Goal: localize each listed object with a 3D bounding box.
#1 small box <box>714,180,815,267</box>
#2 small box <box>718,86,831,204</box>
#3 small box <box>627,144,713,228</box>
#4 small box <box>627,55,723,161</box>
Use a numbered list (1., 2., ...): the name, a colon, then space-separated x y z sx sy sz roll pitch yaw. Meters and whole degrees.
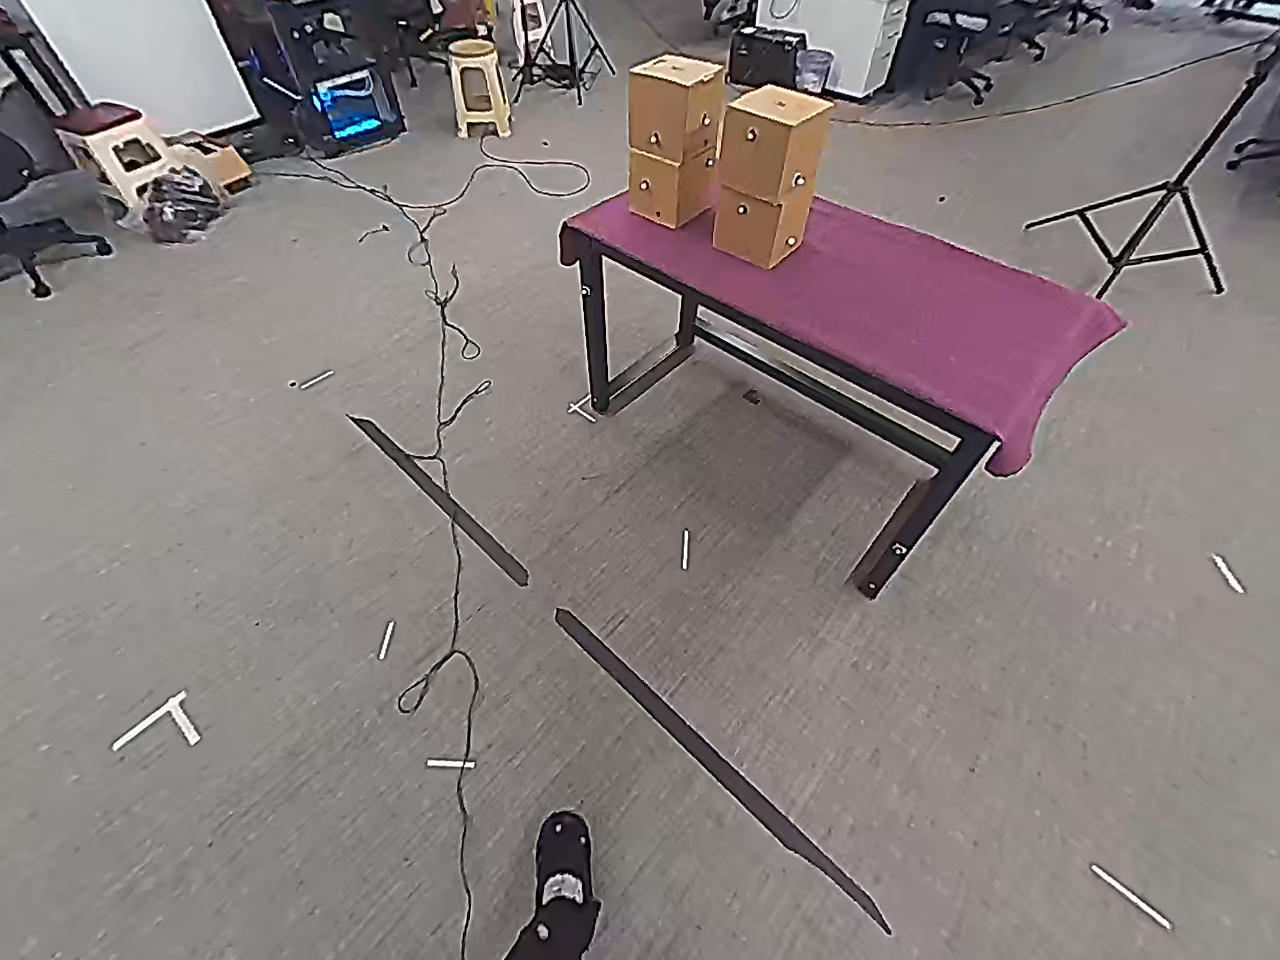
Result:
1. small box: 0.305 -0.668 1.364 0.179 0.176 0.168 34 59 22
2. small box: 0.297 -0.759 1.231 0.179 0.176 0.168 37 62 23
3. small box: 0.082 -0.821 1.482 0.168 0.176 0.179 32 58 22
4. small box: 0.084 -0.928 1.358 0.179 0.176 0.168 31 57 20
